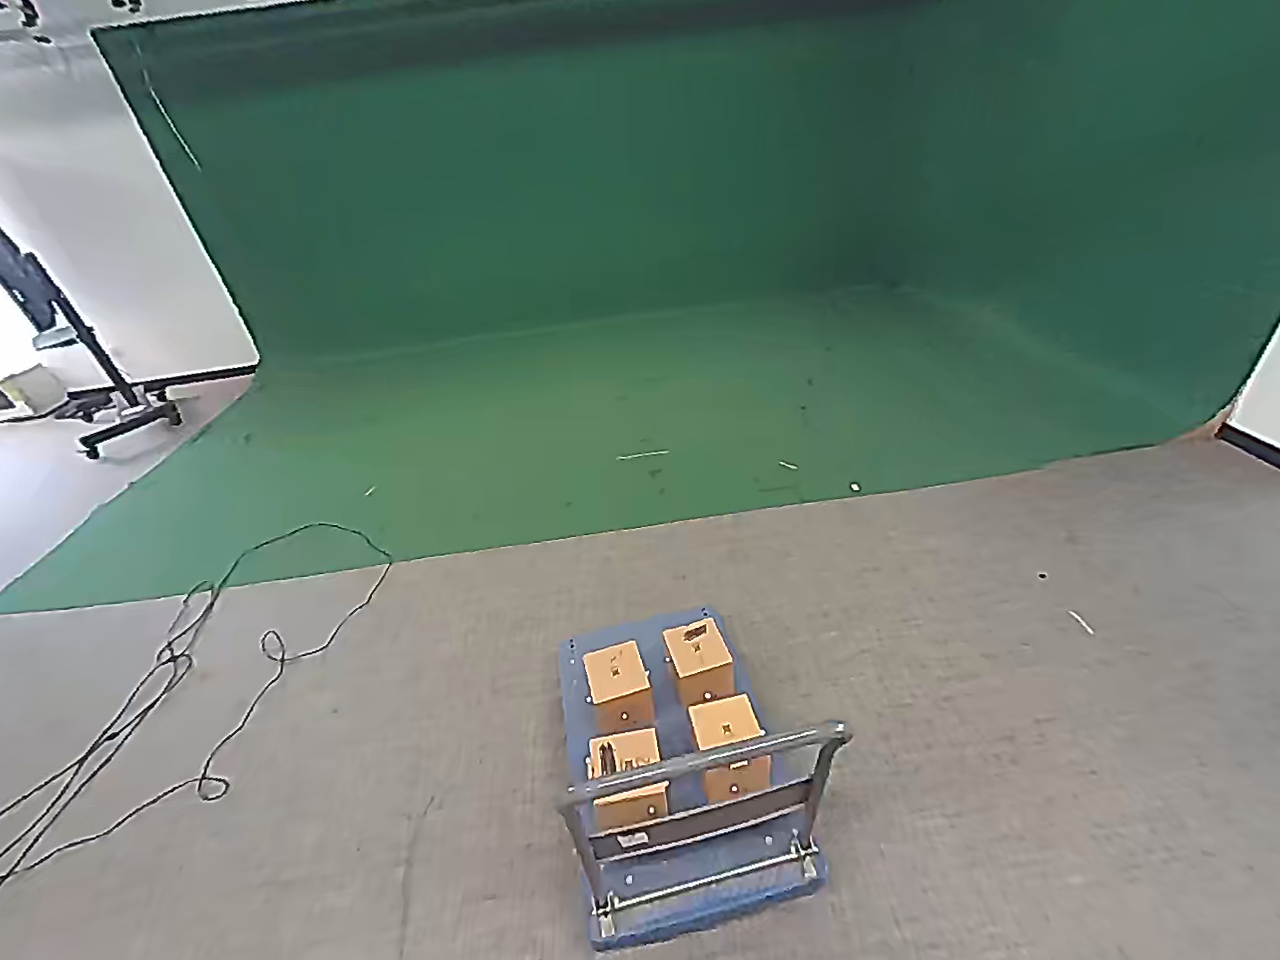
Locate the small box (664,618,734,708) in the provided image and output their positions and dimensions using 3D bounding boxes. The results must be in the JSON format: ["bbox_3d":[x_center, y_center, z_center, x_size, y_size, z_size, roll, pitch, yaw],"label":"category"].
[{"bbox_3d":[0.180,0.559,1.653,0.168,0.176,0.179,-14,37,-8],"label":"small box"}]

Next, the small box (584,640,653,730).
[{"bbox_3d":[-0.062,0.618,1.613,0.168,0.176,0.179,-13,36,-9],"label":"small box"}]

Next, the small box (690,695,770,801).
[{"bbox_3d":[0.233,0.709,1.434,0.168,0.176,0.179,-11,36,-5],"label":"small box"}]
